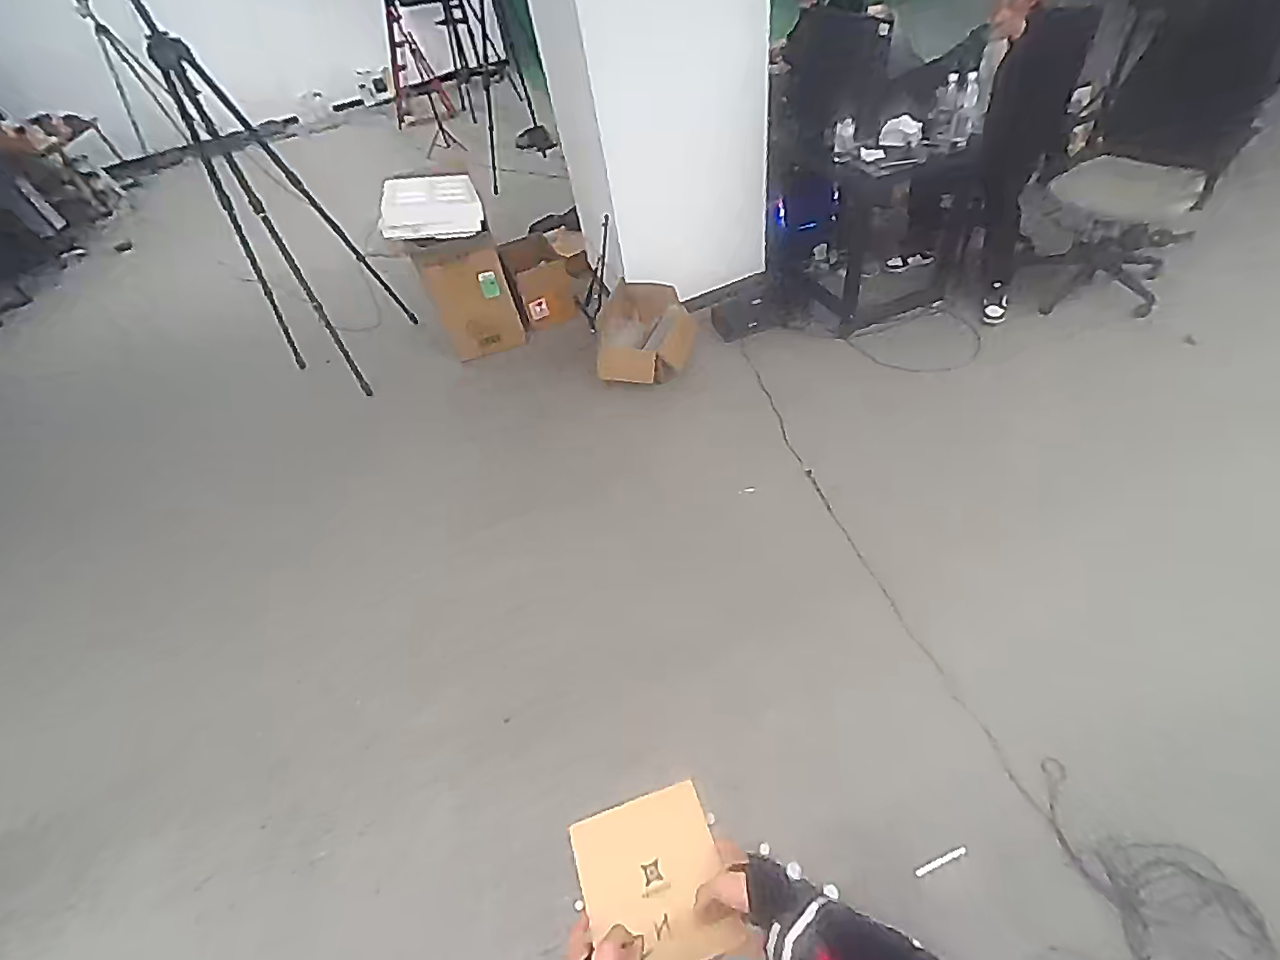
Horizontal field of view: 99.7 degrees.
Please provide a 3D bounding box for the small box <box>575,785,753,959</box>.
[{"bbox_3d":[0.023,0.526,0.686,0.168,0.176,0.179,-16,50,-10],"label":"small box"}]
